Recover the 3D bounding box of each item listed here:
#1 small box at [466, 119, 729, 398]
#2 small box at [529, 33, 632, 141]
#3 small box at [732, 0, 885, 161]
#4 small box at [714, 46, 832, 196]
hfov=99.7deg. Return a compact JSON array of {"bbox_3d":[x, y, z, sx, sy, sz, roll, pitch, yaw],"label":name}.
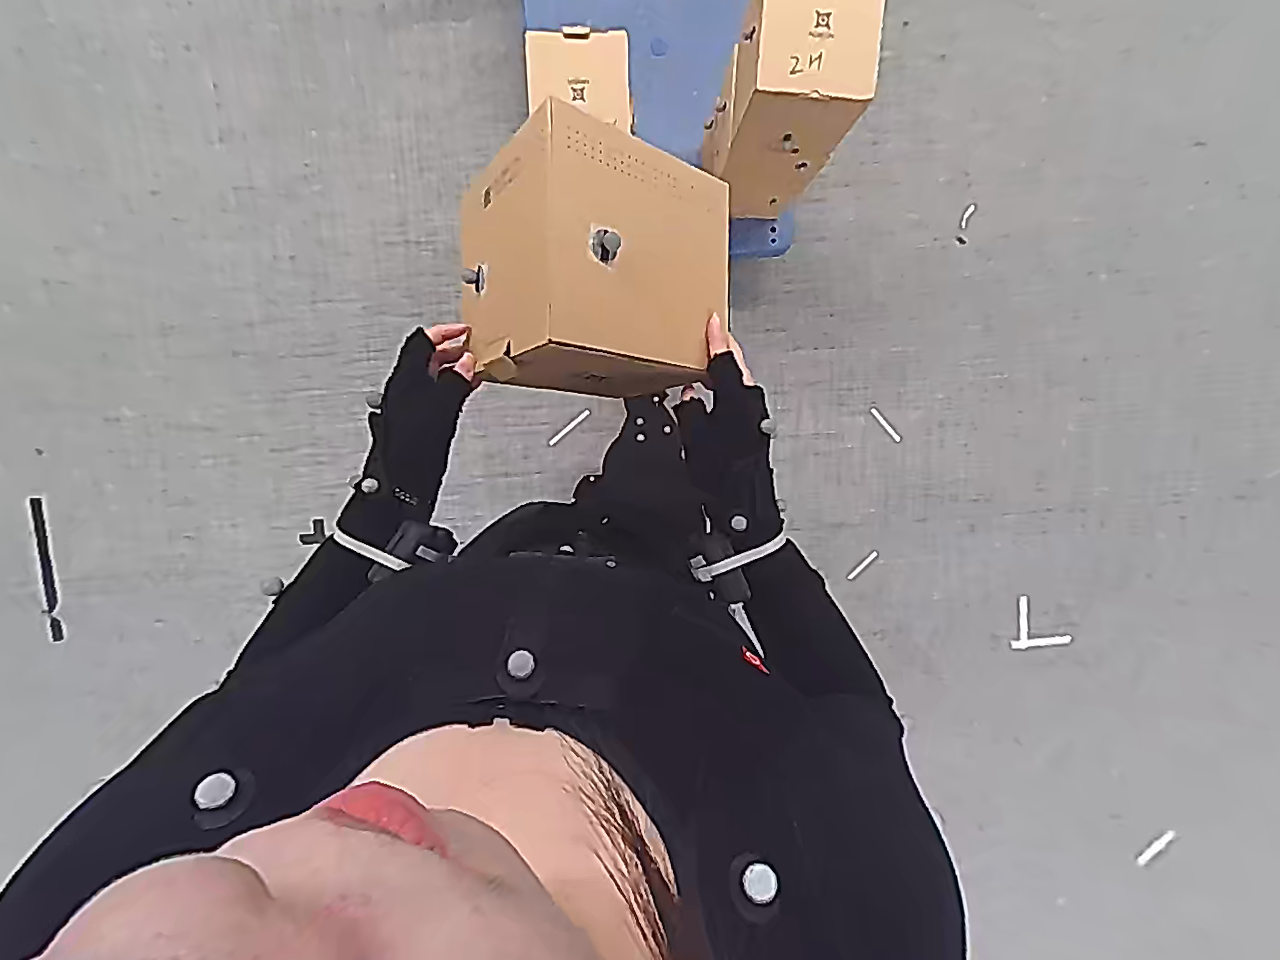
[{"bbox_3d":[-0.040,-0.175,0.477,0.179,0.168,0.176,0,90,-38],"label":"small box"},{"bbox_3d":[-0.098,-0.637,0.952,0.168,0.176,0.179,-1,97,-1],"label":"small box"},{"bbox_3d":[0.238,-0.610,0.801,0.168,0.176,0.179,4,97,-2],"label":"small box"},{"bbox_3d":[0.233,-0.628,0.966,0.179,0.176,0.168,2,97,-3],"label":"small box"}]
